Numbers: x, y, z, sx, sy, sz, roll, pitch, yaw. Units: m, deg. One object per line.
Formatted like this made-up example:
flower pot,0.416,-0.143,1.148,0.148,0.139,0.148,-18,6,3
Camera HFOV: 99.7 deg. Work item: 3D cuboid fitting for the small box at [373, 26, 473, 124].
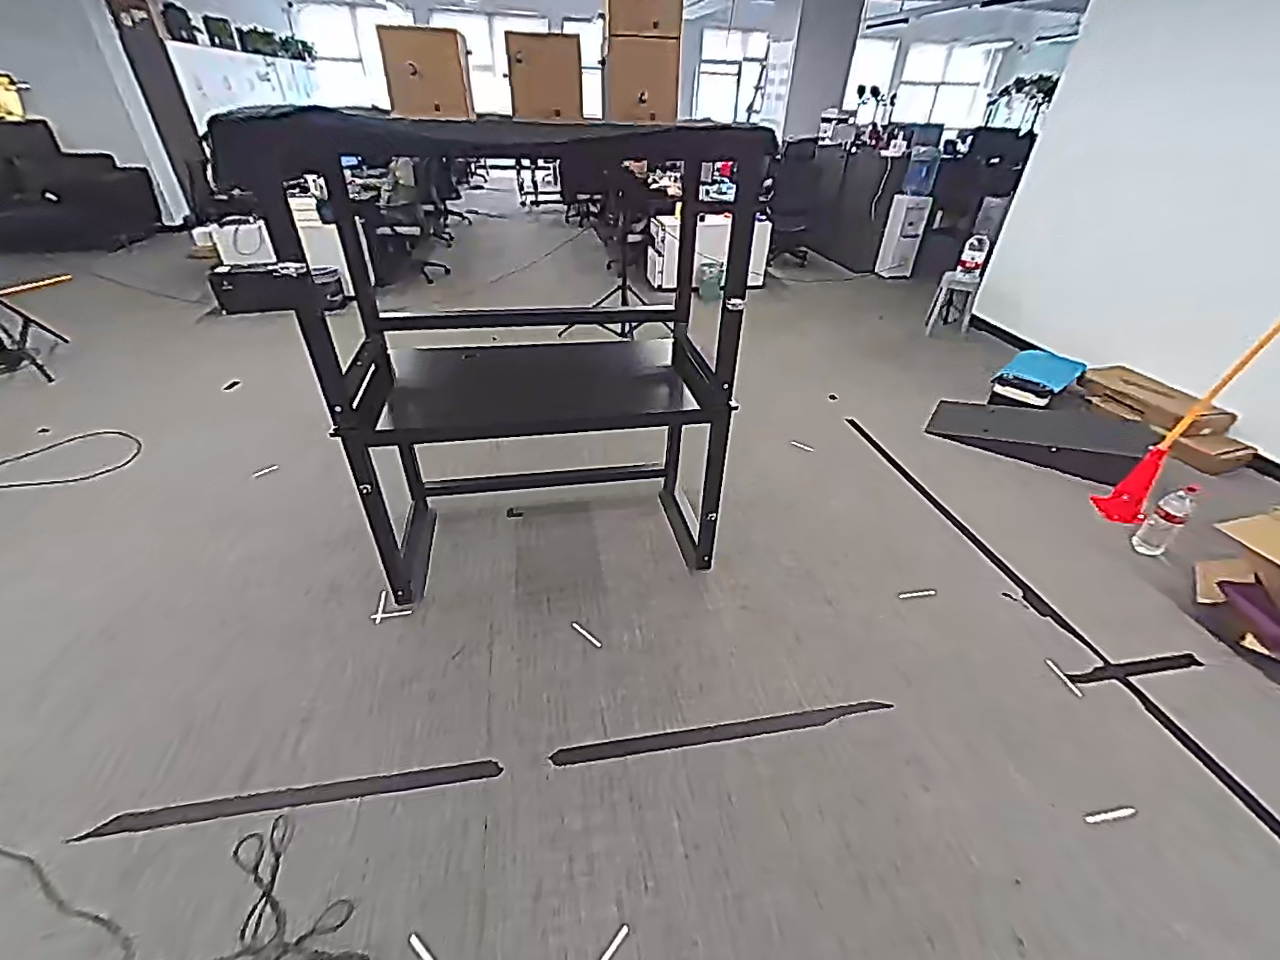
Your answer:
small box,-0.486,-0.920,1.239,0.168,0.176,0.179,-3,34,-8

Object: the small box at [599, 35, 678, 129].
small box,-0.010,-0.952,1.302,0.168,0.176,0.179,-5,35,-8

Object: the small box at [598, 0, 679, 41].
small box,-0.005,-1.087,1.210,0.168,0.176,0.179,-4,35,-8
